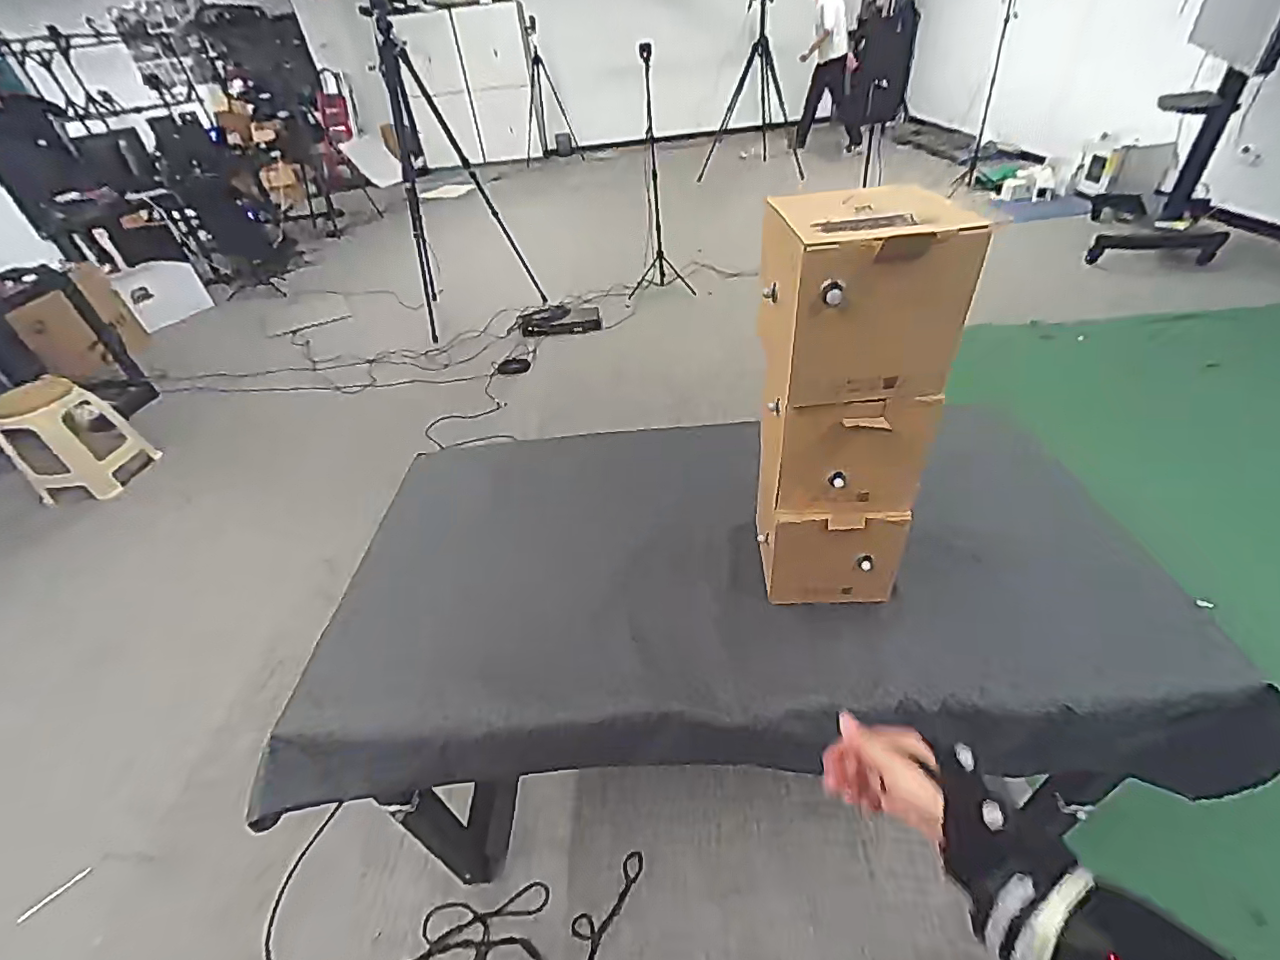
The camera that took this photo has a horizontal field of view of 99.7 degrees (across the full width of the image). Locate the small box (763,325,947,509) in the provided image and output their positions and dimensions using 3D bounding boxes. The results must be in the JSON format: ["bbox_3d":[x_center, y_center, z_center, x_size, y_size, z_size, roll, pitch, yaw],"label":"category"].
[{"bbox_3d":[0.252,-0.080,0.687,0.168,0.176,0.179,-1,41,6],"label":"small box"}]

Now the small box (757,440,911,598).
[{"bbox_3d":[0.263,0.055,0.778,0.168,0.176,0.179,-2,39,5],"label":"small box"}]
